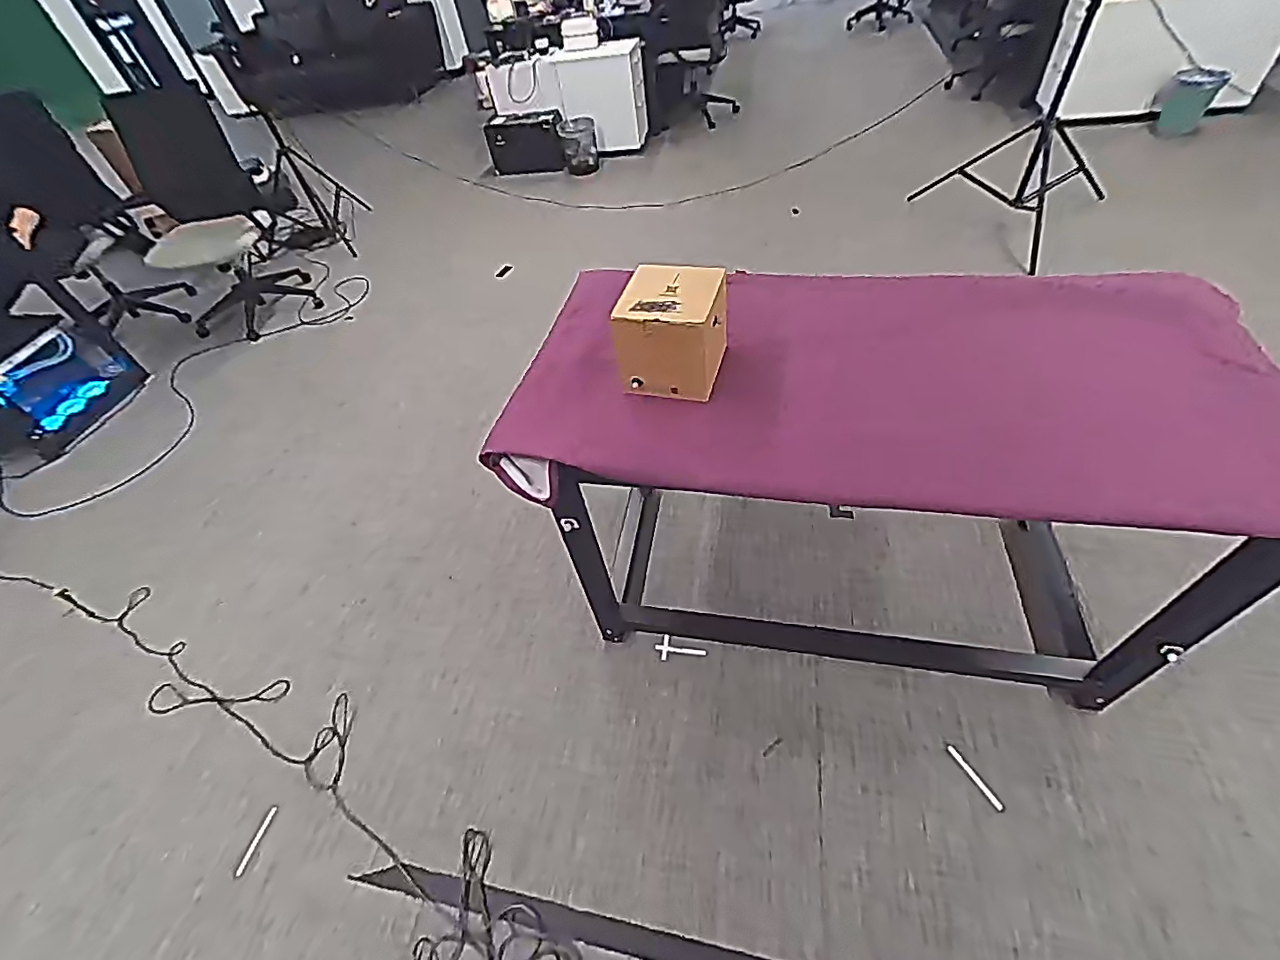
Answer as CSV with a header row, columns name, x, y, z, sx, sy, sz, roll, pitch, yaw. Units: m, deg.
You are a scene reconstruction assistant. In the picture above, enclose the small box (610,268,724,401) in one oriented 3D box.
name,x,y,z,sx,sy,sz,roll,pitch,yaw
small box,0.060,-0.267,0.996,0.168,0.176,0.179,9,51,16
